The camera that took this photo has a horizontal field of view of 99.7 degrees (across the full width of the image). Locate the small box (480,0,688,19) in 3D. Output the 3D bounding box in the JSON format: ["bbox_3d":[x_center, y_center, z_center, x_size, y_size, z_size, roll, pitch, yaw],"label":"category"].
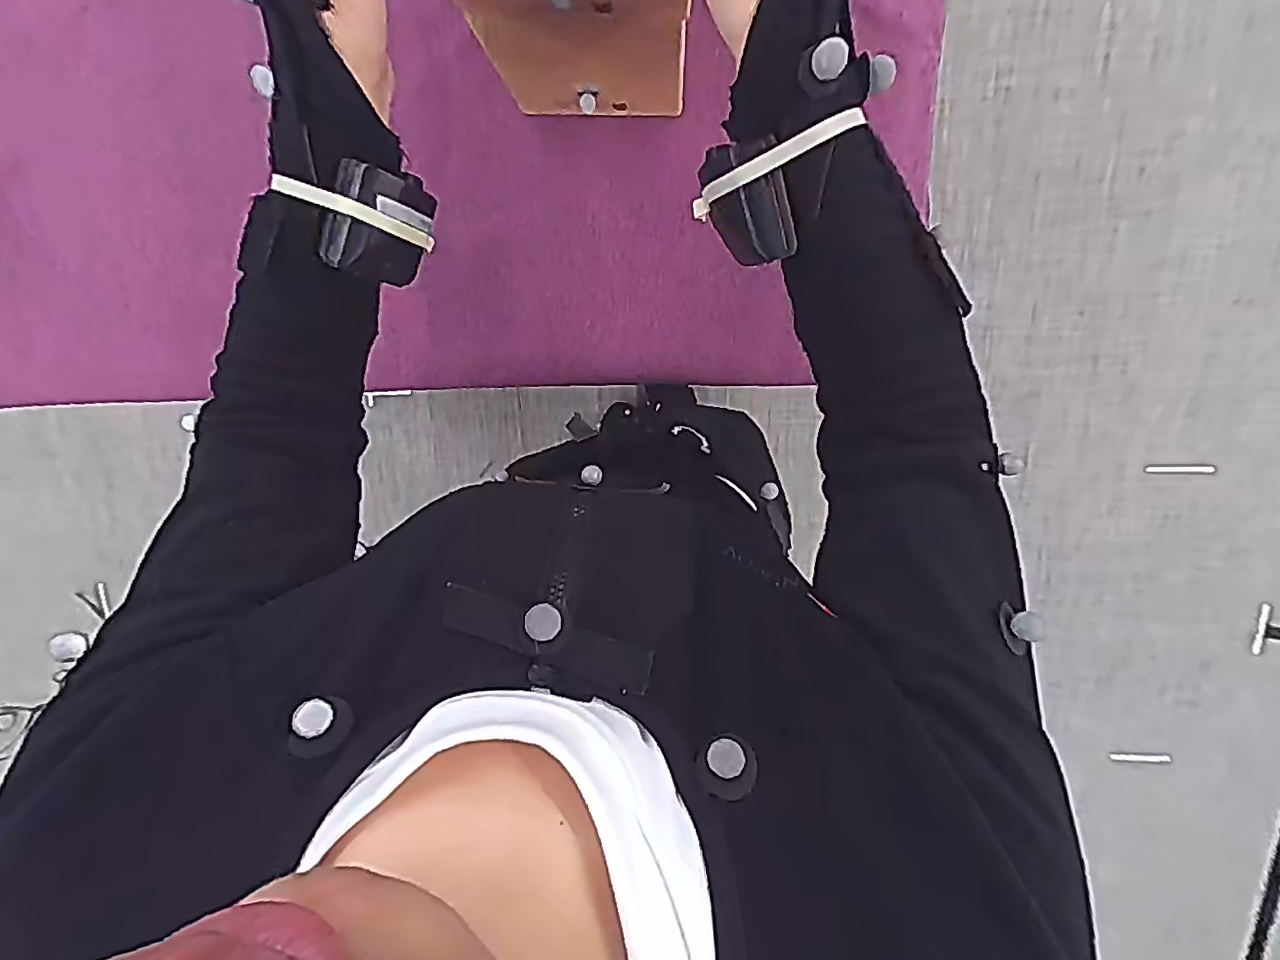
[{"bbox_3d":[-0.046,-0.396,0.288,0.168,0.176,0.179,3,107,4],"label":"small box"}]

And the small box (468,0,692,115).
[{"bbox_3d":[-0.038,-0.443,0.454,0.168,0.176,0.179,3,104,3],"label":"small box"}]
